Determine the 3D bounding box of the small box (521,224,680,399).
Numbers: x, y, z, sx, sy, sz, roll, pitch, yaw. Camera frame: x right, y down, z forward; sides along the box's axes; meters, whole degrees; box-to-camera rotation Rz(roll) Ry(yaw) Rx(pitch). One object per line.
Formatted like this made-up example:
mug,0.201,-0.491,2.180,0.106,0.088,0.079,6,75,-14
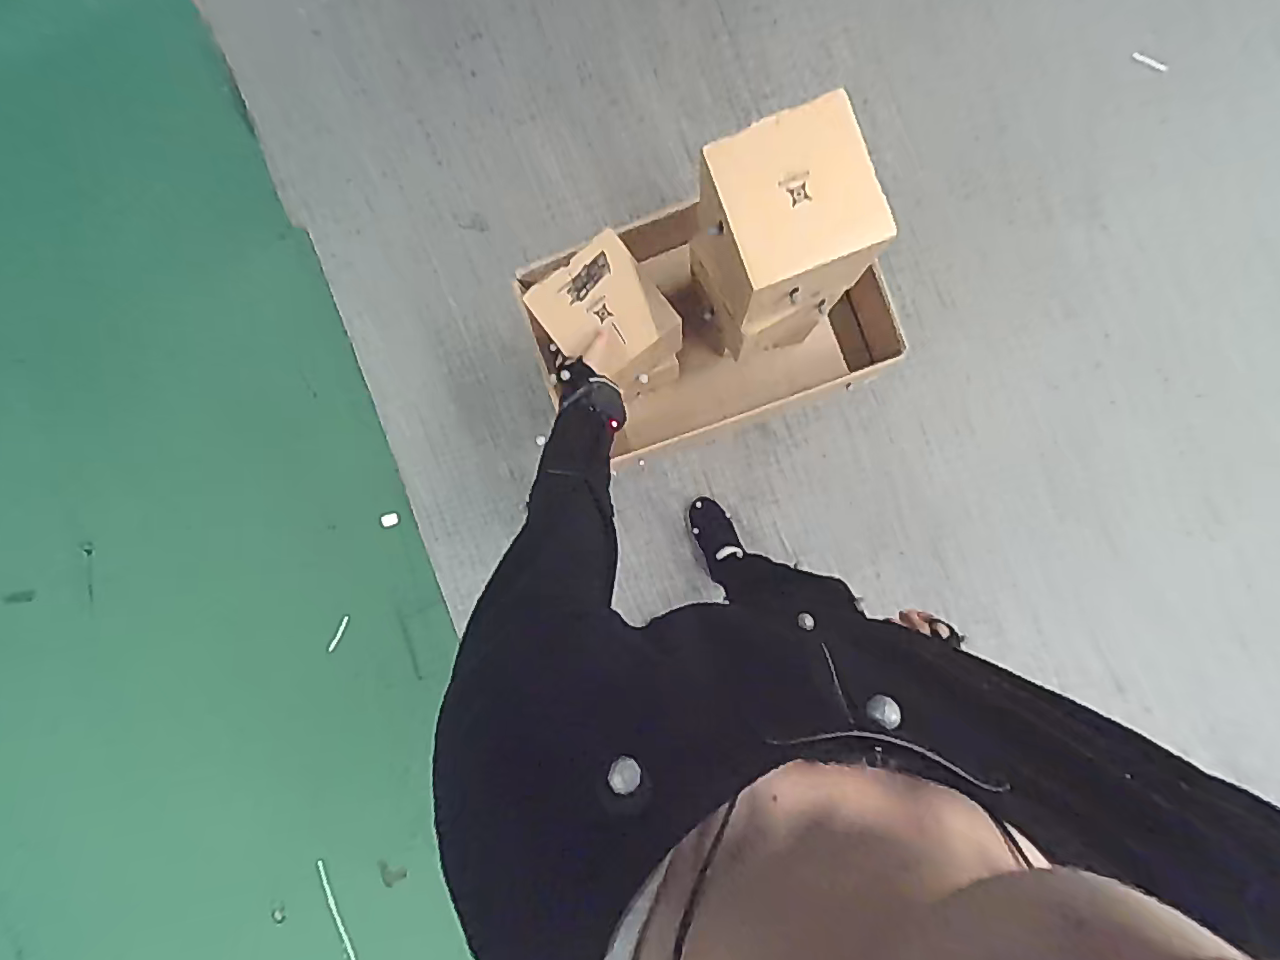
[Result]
small box,-0.053,-0.248,0.845,0.168,0.176,0.179,-37,88,4

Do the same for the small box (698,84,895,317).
small box,0.178,-0.318,0.663,0.168,0.176,0.179,-20,88,6

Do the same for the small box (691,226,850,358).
small box,0.189,-0.311,0.825,0.179,0.176,0.168,-28,87,6
